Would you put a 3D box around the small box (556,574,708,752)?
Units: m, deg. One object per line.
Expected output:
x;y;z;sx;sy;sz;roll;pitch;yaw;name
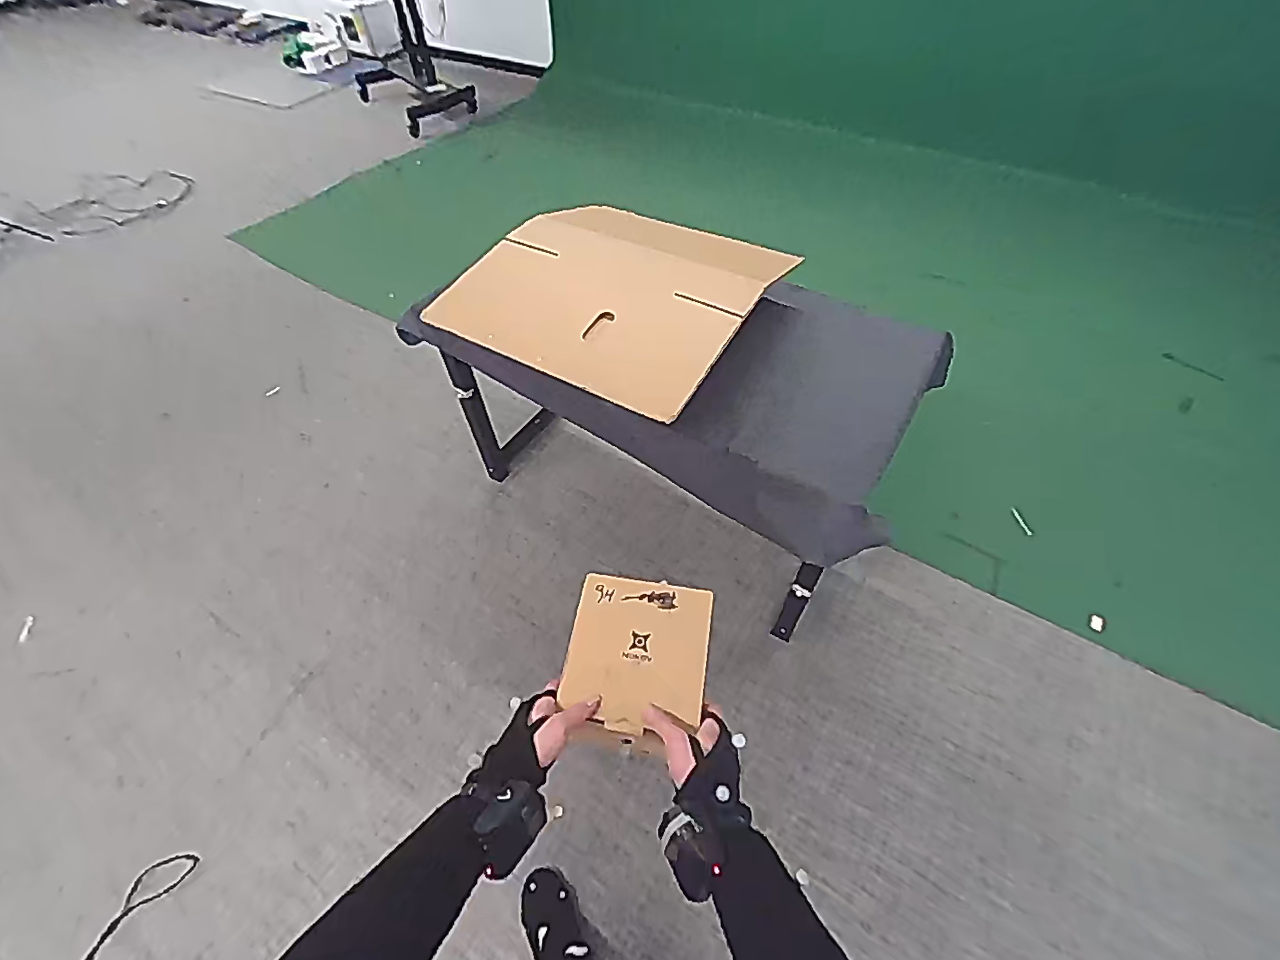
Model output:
-0.001;0.246;0.713;0.168;0.176;0.179;5;55;6;small box
